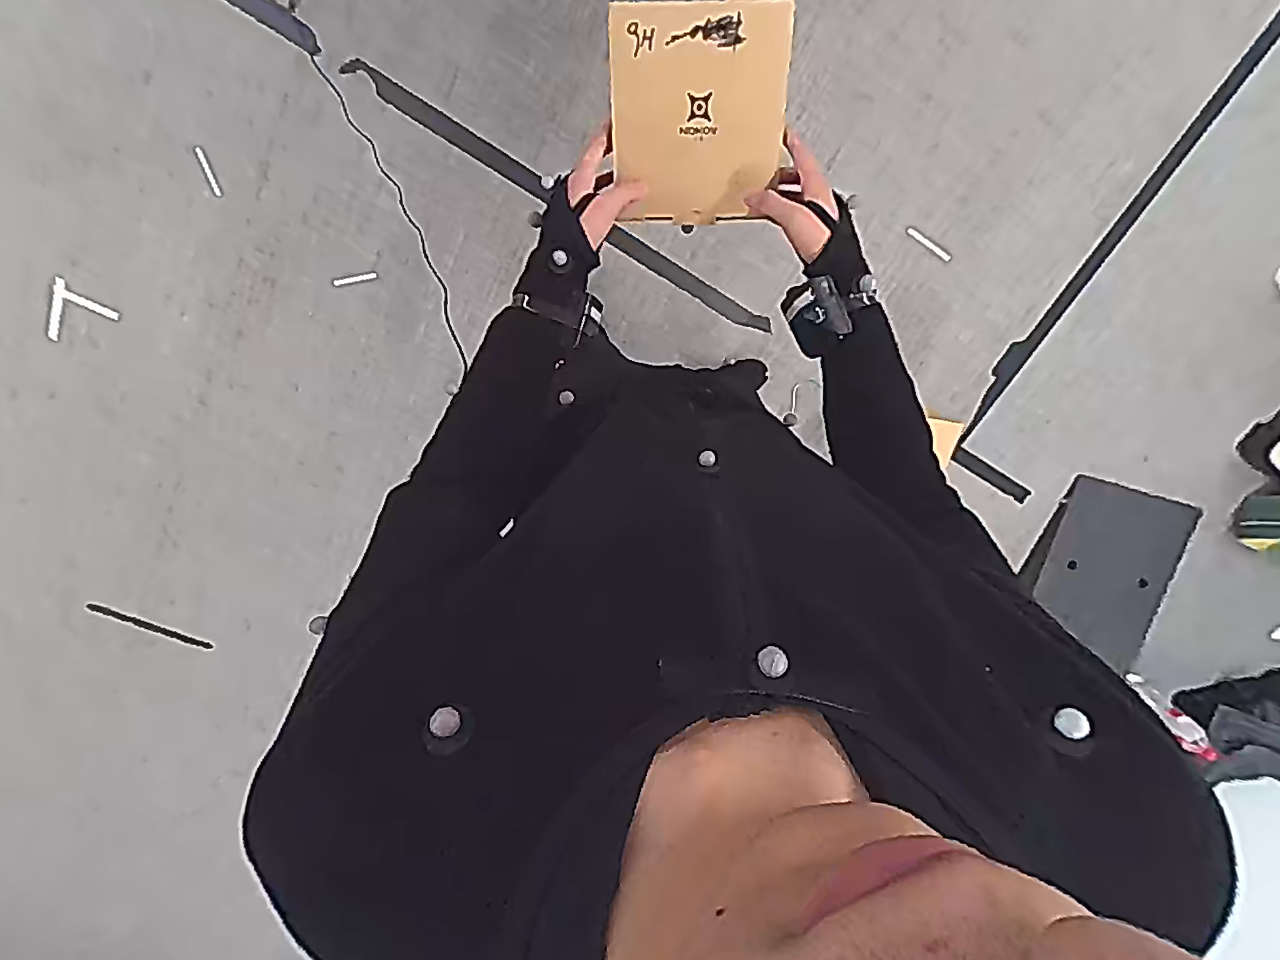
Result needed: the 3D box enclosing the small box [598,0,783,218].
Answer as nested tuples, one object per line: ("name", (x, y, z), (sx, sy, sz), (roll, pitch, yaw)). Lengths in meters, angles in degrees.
("small box", (0.046, -0.386, 0.584), (0.168, 0.176, 0.179), (0, 118, 1))
